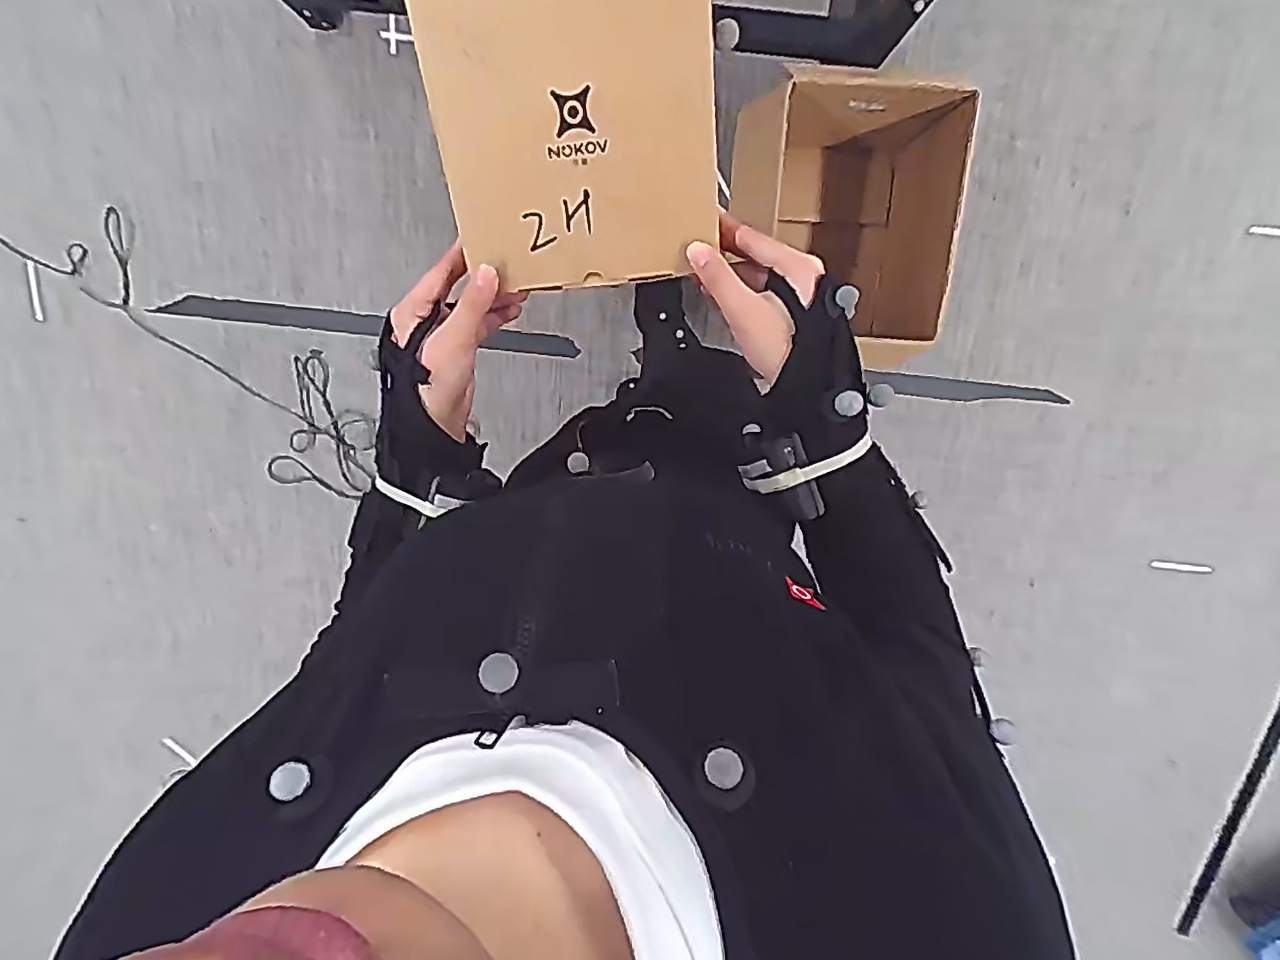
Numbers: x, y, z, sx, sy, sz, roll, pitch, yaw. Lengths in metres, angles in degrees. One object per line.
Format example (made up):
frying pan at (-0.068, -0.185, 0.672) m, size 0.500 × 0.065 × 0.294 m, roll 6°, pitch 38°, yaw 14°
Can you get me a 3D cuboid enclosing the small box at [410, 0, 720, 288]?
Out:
small box at (-0.033, -0.246, 0.384) m, size 0.168 × 0.176 × 0.179 m, roll -4°, pitch 118°, yaw 6°
